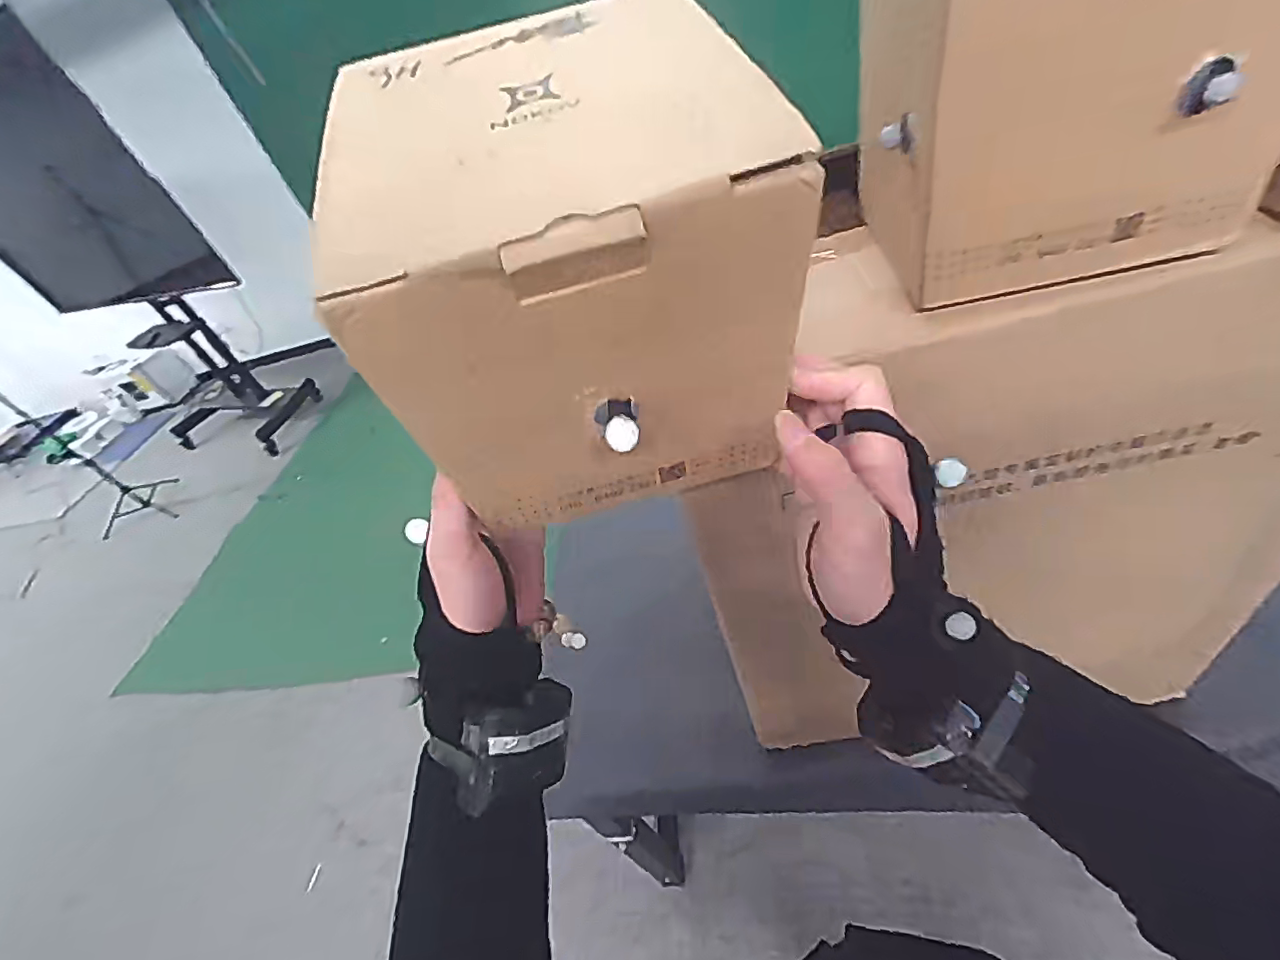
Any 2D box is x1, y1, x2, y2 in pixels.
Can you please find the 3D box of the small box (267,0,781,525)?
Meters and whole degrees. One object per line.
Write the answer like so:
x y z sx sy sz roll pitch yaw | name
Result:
-0.041 -0.093 0.272 0.168 0.176 0.179 -16 59 -1 | small box
